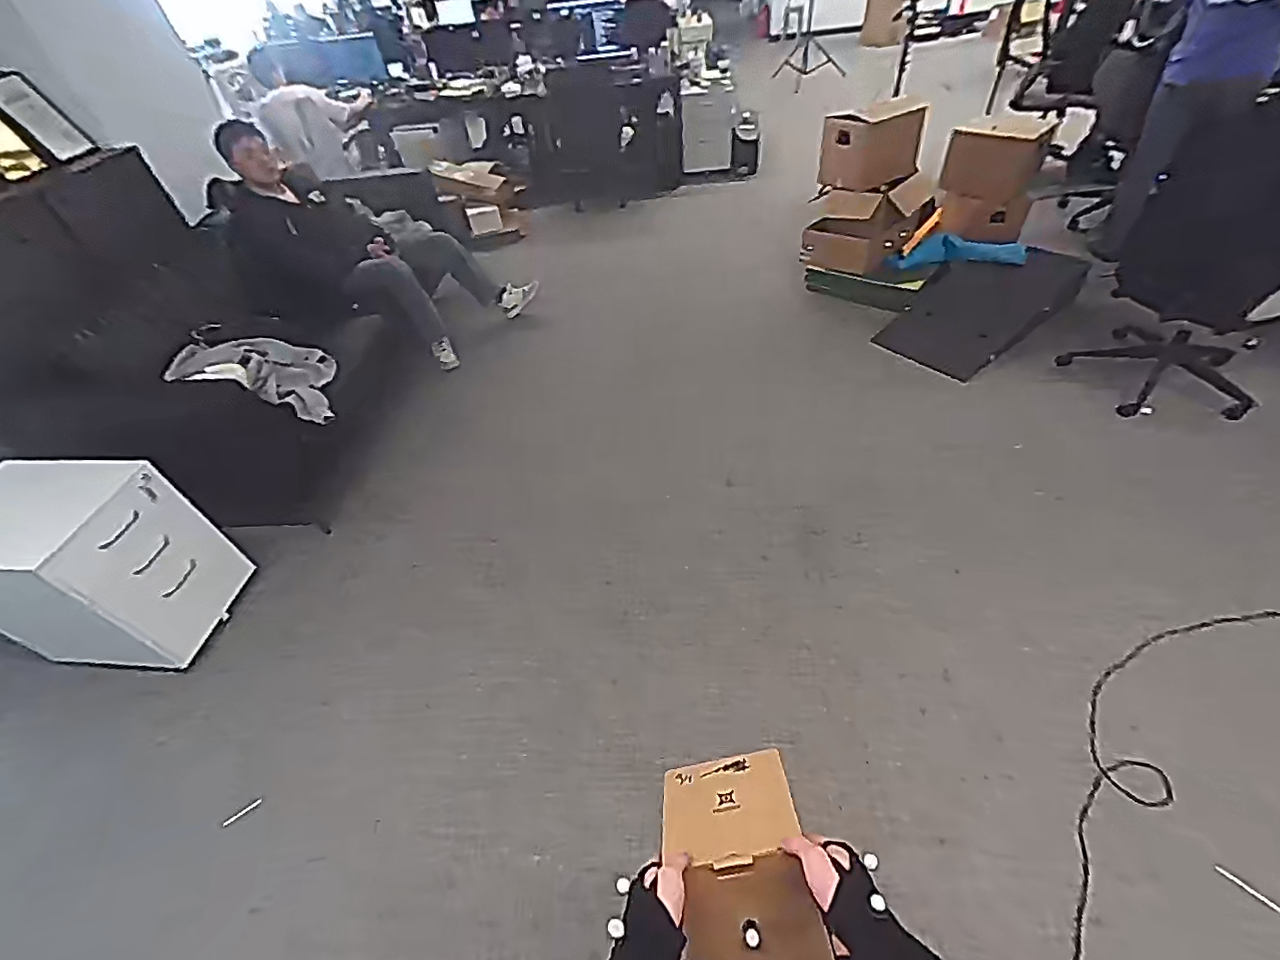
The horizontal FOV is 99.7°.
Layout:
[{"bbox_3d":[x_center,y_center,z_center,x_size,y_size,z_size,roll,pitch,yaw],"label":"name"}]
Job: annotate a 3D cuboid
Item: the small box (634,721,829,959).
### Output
[{"bbox_3d":[0.120,0.464,0.716,0.179,0.176,0.168,-19,6,-24],"label":"small box"}]
